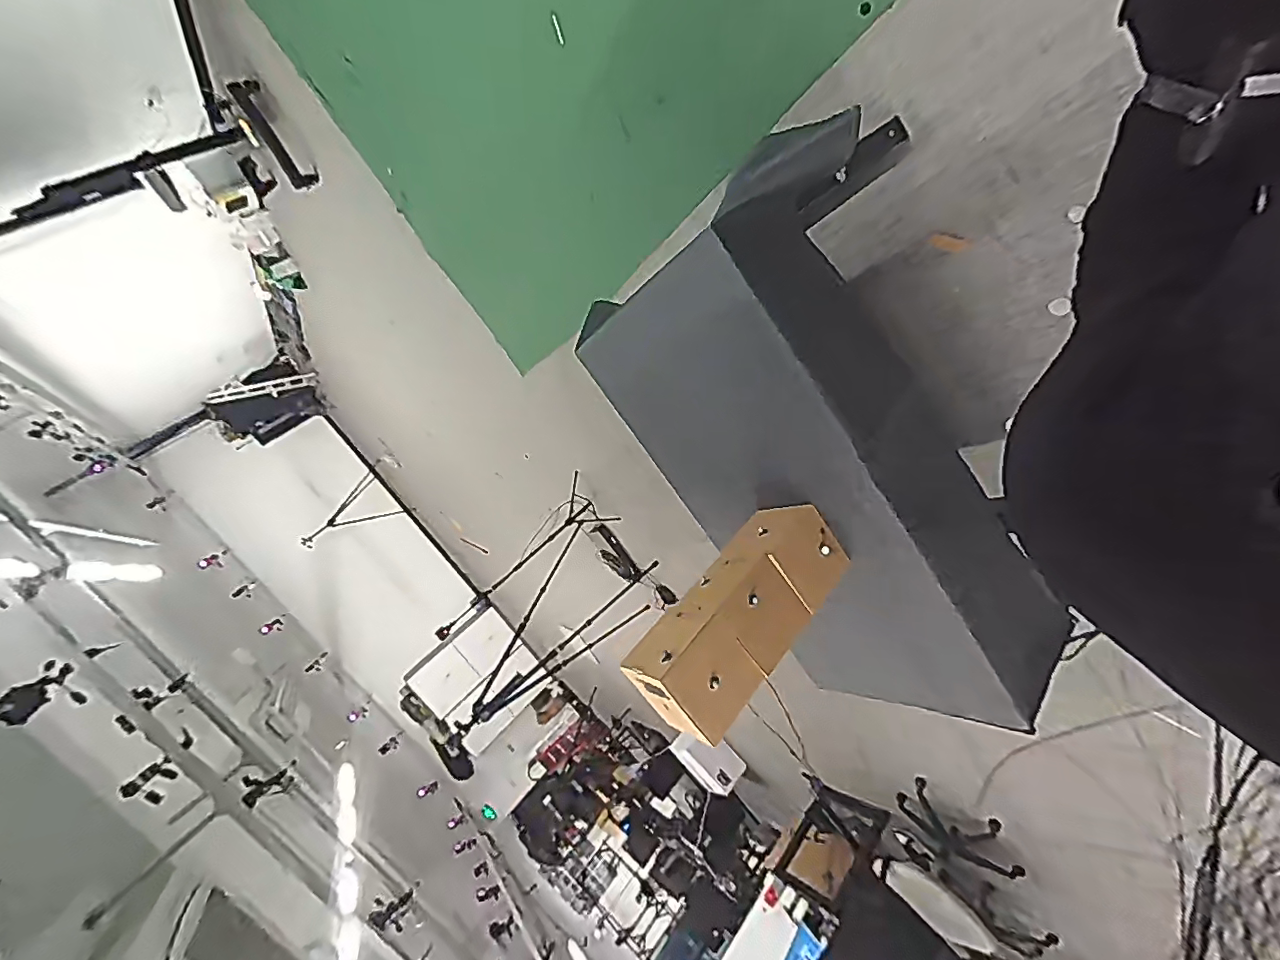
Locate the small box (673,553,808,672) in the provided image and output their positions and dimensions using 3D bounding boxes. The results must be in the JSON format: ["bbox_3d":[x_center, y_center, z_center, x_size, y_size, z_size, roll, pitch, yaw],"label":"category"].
[{"bbox_3d":[0.208,0.264,1.121,0.179,0.176,0.168,53,153,-9],"label":"small box"}]

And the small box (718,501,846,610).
[{"bbox_3d":[0.315,0.164,1.193,0.168,0.176,0.179,54,151,-12],"label":"small box"}]
